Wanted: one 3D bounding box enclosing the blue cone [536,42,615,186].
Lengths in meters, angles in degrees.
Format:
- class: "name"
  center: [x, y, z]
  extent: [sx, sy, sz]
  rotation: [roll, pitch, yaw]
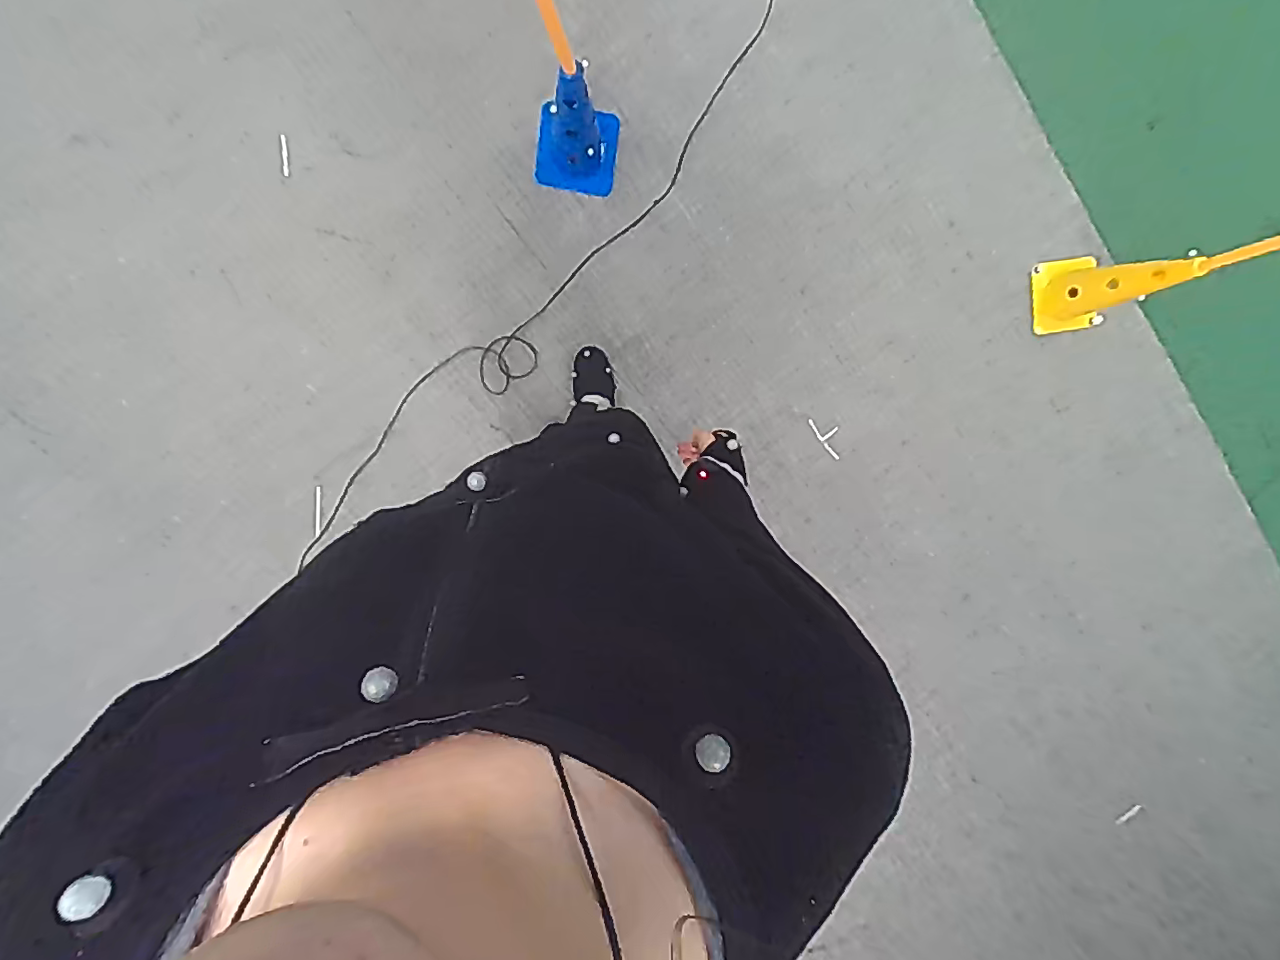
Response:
- class: "blue cone"
  center: [-0.150, -0.815, 1.189]
  extent: [0.193, 0.380, 0.192]
  rotation: [6, 99, -5]
